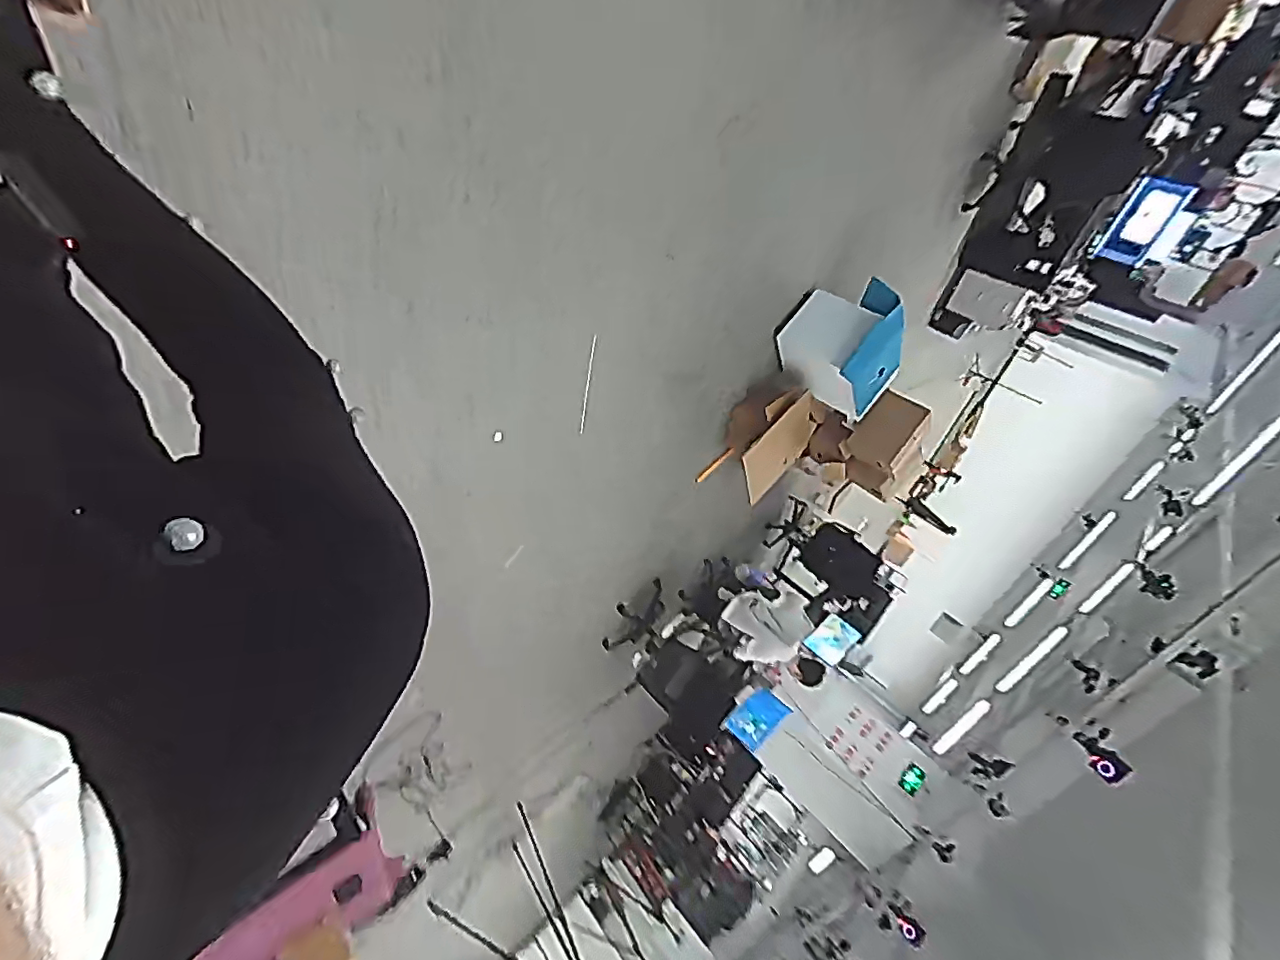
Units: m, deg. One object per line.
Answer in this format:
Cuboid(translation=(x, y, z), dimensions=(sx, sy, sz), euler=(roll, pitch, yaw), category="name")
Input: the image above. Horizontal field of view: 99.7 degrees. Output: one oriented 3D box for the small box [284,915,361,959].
Cuboid(translation=(-0.983, 1.517, 1.688), dimensions=(0.168, 0.176, 0.179), euler=(-25, 141, -39), category="small box")
